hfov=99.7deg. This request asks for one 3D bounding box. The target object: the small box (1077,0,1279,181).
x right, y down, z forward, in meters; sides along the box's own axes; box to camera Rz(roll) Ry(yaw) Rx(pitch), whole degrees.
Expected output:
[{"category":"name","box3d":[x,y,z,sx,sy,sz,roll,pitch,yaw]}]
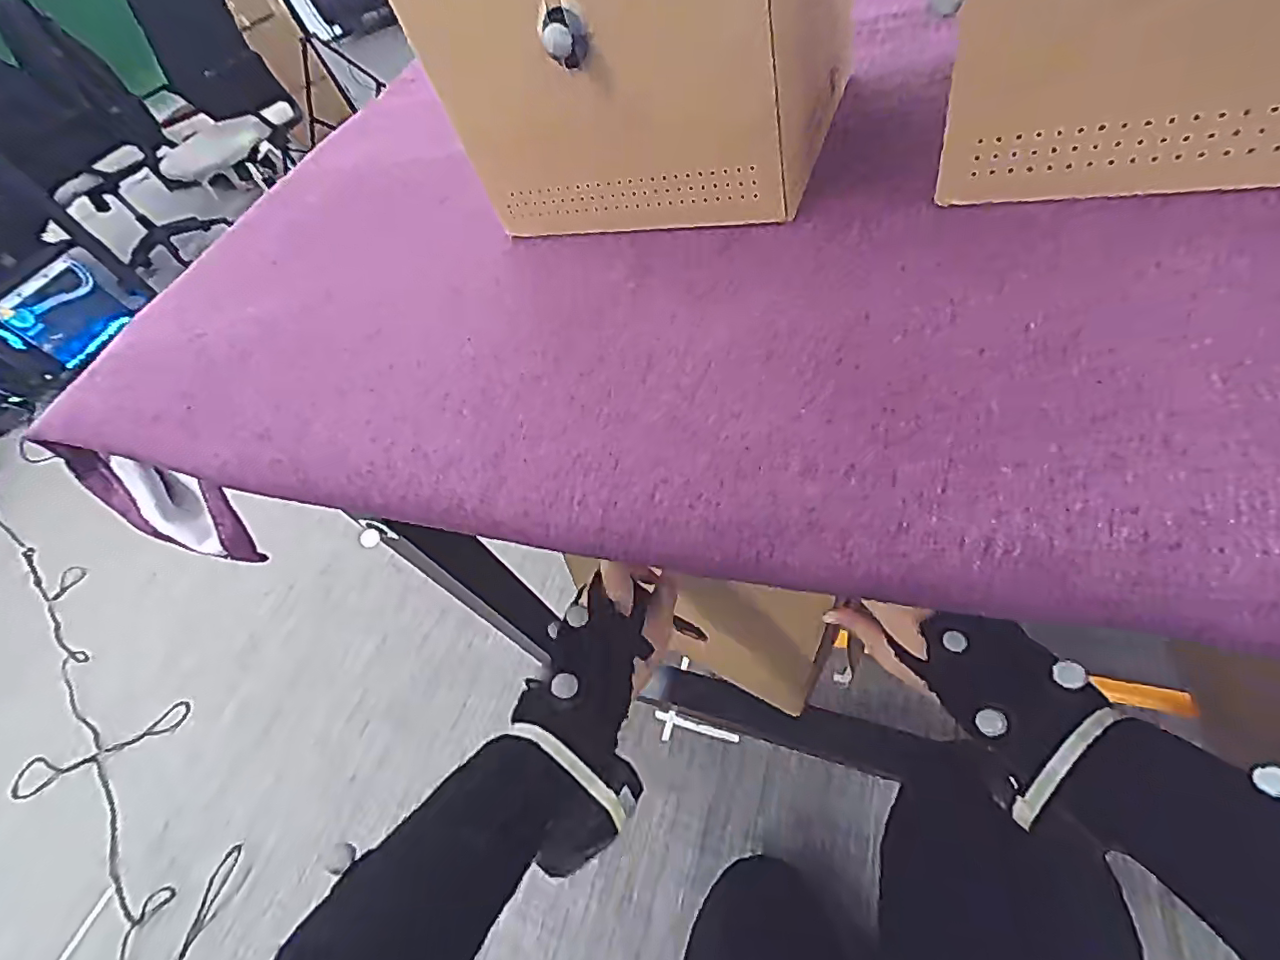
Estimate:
[{"category":"small box","box3d":[0.258,-0.224,0.144,0.179,0.176,0.168,-11,91,17]}]
